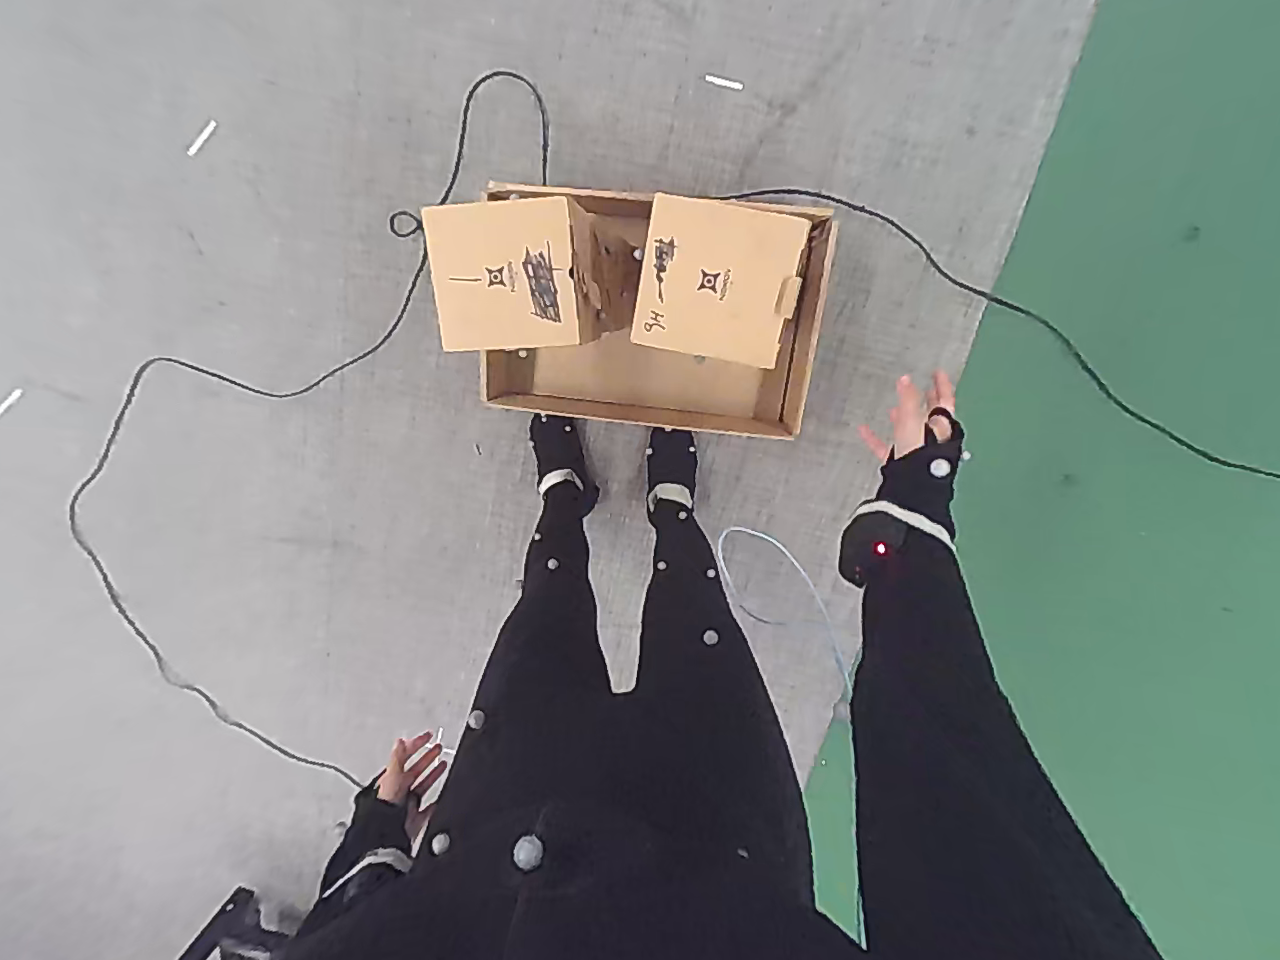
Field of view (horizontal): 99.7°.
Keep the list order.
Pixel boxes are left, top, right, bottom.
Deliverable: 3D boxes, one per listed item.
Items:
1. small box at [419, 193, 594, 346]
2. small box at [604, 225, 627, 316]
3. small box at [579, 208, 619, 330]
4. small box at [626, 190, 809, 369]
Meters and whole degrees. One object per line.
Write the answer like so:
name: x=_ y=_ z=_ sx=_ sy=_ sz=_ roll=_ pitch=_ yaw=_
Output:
small box: x=-0.158 y=-0.269 z=0.711 sx=0.179 sy=0.176 sz=0.168 roll=-1 pitch=108 yaw=6
small box: x=-0.126 y=-0.387 z=1.015 sx=0.179 sy=0.176 sz=0.168 roll=8 pitch=109 yaw=1
small box: x=-0.133 y=-0.321 z=0.865 sx=0.179 sy=0.176 sz=0.168 roll=-8 pitch=107 yaw=8
small box: x=0.091 y=-0.248 z=0.687 sx=0.179 sy=0.176 sz=0.168 roll=13 pitch=108 yaw=2
